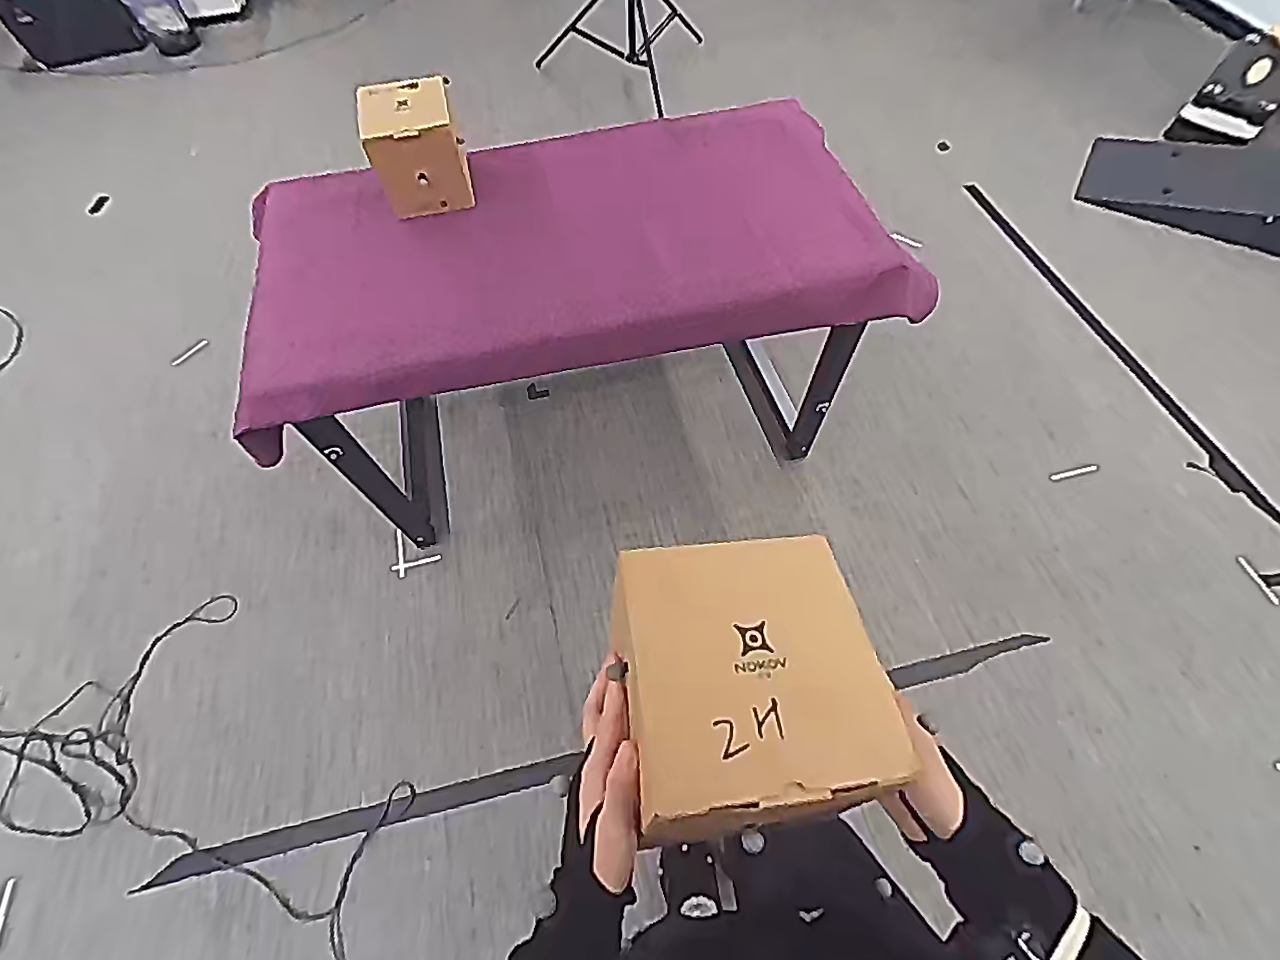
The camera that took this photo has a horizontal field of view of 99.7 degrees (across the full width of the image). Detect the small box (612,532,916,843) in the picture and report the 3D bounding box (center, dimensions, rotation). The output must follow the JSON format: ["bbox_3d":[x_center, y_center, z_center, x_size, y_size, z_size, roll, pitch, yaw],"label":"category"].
[{"bbox_3d":[0.069,0.162,0.426,0.168,0.176,0.179,-4,51,-8],"label":"small box"}]

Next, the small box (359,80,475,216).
[{"bbox_3d":[-0.444,-0.661,1.093,0.168,0.176,0.179,-13,64,-6],"label":"small box"}]
